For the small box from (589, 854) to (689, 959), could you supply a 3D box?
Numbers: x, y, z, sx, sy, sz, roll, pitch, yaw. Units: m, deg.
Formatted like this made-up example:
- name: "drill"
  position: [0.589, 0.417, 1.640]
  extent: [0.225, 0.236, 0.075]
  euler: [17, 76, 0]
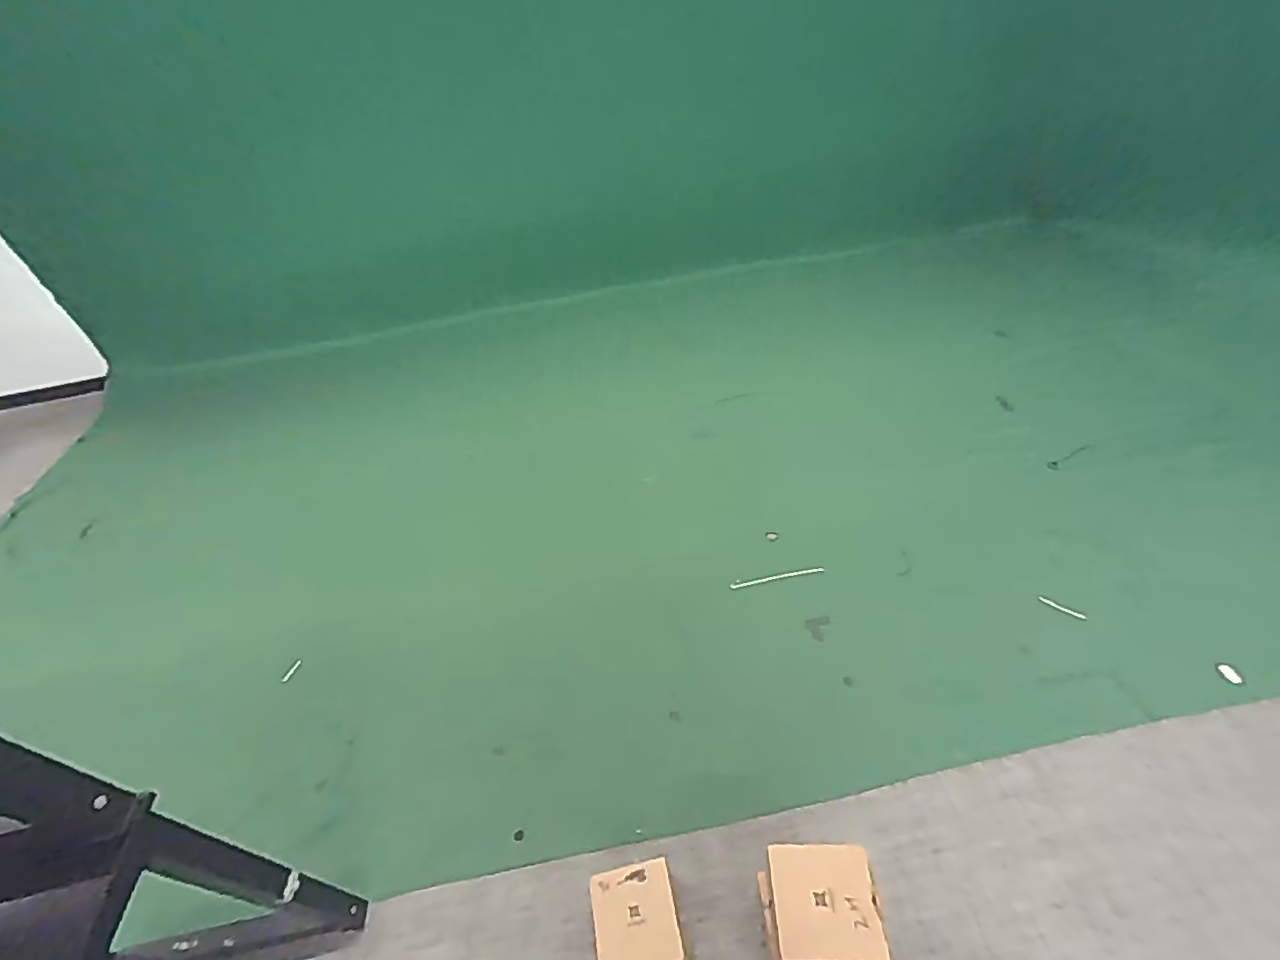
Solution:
- name: "small box"
  position: [0.000, 0.911, 1.117]
  extent: [0.168, 0.176, 0.179]
  euler: [-13, 43, -3]

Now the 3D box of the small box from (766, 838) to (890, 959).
- name: "small box"
  position: [0.324, 0.763, 0.974]
  extent: [0.179, 0.176, 0.168]
  euler: [-4, 44, 6]
